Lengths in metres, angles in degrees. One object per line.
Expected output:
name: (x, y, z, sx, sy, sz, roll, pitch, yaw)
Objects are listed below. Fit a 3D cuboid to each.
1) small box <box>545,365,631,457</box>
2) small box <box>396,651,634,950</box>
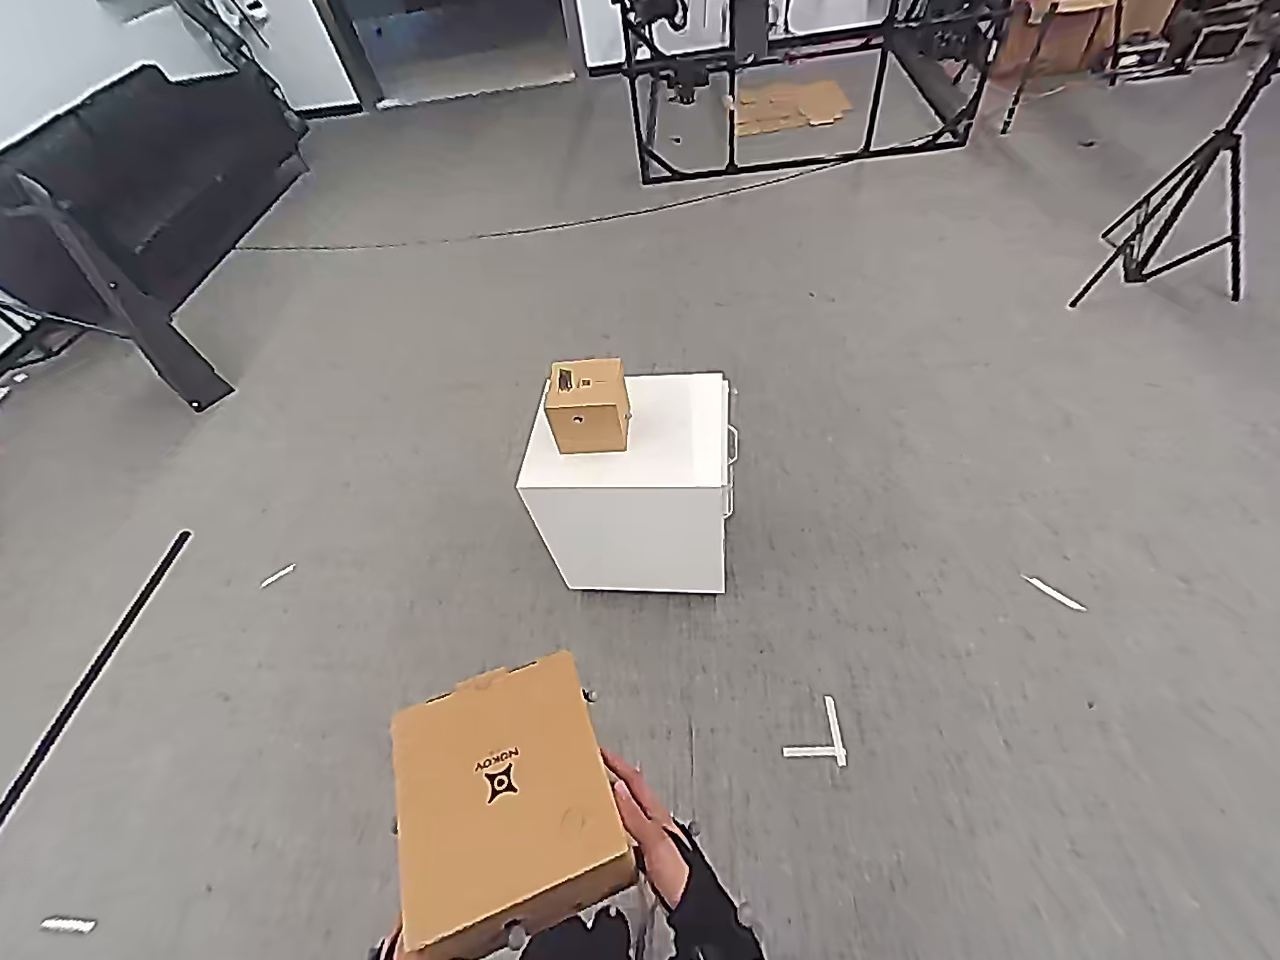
small box: (-0.124, -0.171, 1.370, 0.179, 0.176, 0.168, -2, 52, 7)
small box: (-0.110, 0.298, 0.502, 0.168, 0.176, 0.179, -17, 46, -13)
